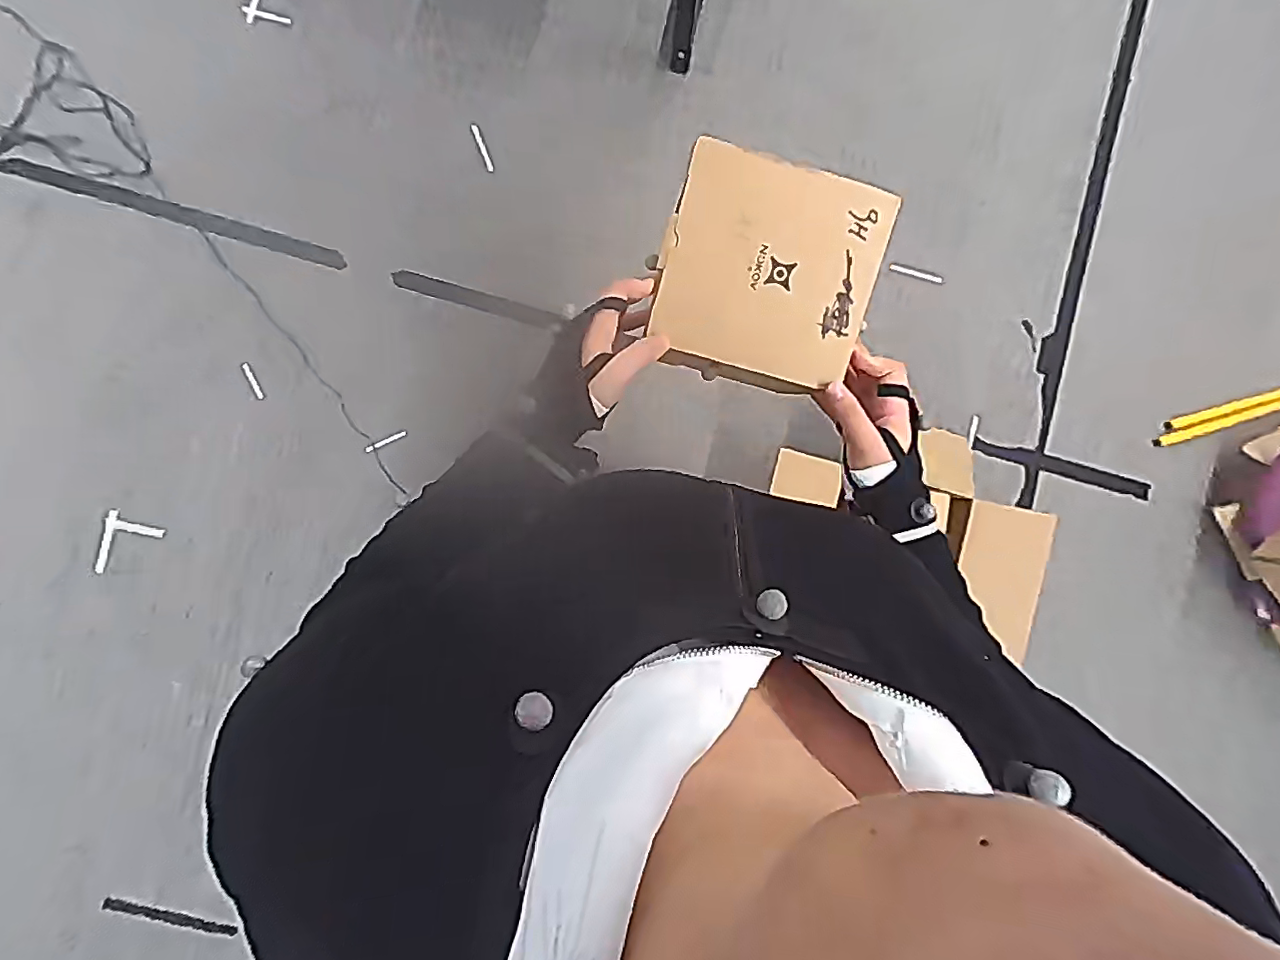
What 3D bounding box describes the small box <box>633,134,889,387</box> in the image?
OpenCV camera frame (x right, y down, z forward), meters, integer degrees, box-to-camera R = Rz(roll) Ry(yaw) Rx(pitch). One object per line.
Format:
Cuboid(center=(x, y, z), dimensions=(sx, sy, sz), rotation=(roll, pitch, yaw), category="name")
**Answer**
Cuboid(center=(0.097, -0.189, 0.522), dimensions=(0.179, 0.176, 0.168), rotation=(15, 99, -3), category="small box")
